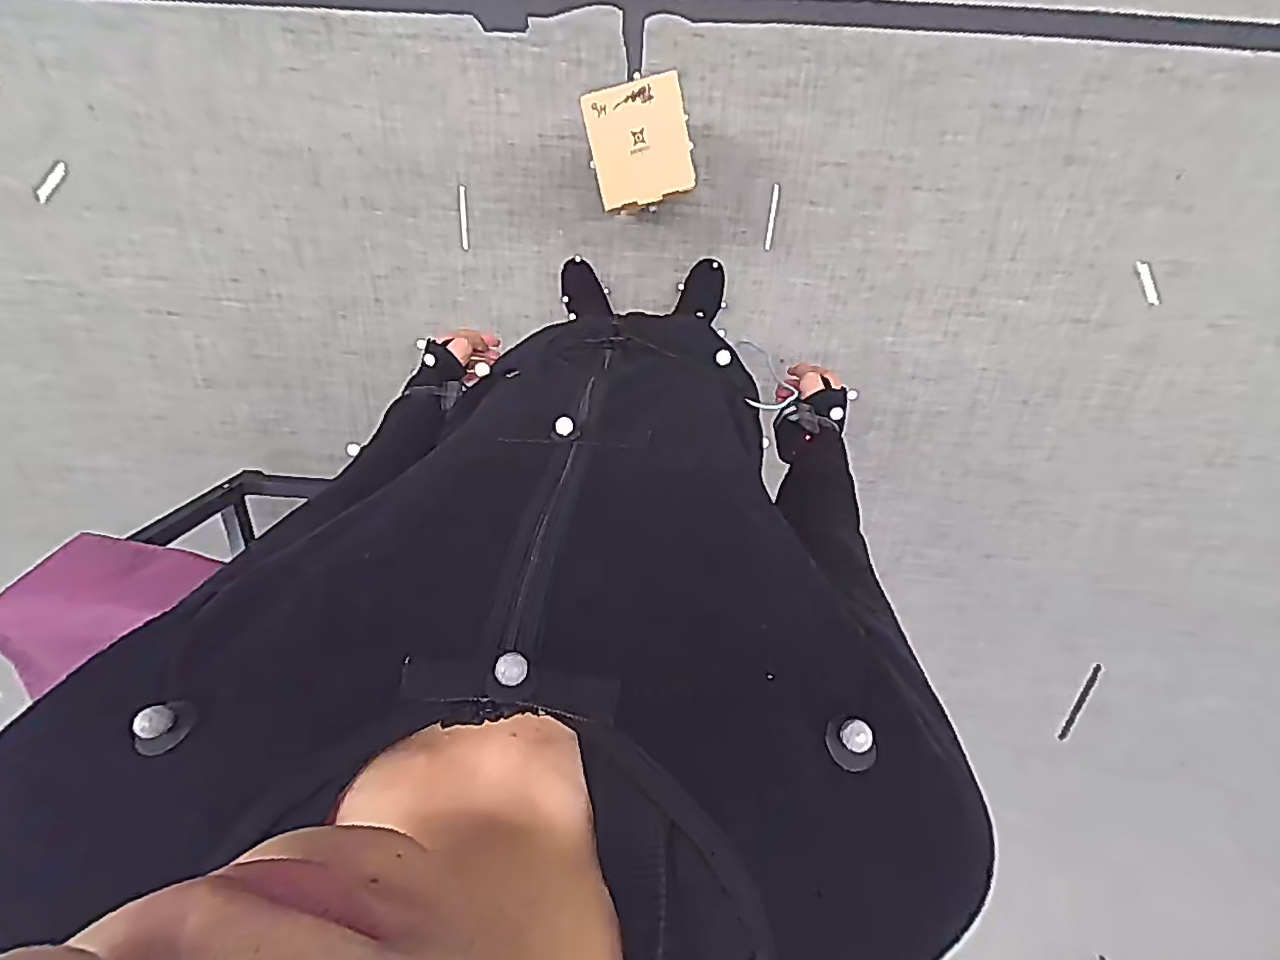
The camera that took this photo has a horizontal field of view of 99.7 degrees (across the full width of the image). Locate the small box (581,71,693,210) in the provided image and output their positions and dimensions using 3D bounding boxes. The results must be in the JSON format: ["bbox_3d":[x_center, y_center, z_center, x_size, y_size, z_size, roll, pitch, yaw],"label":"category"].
[{"bbox_3d":[0.000,-0.607,0.986,0.168,0.176,0.179,-11,115,6],"label":"small box"}]
